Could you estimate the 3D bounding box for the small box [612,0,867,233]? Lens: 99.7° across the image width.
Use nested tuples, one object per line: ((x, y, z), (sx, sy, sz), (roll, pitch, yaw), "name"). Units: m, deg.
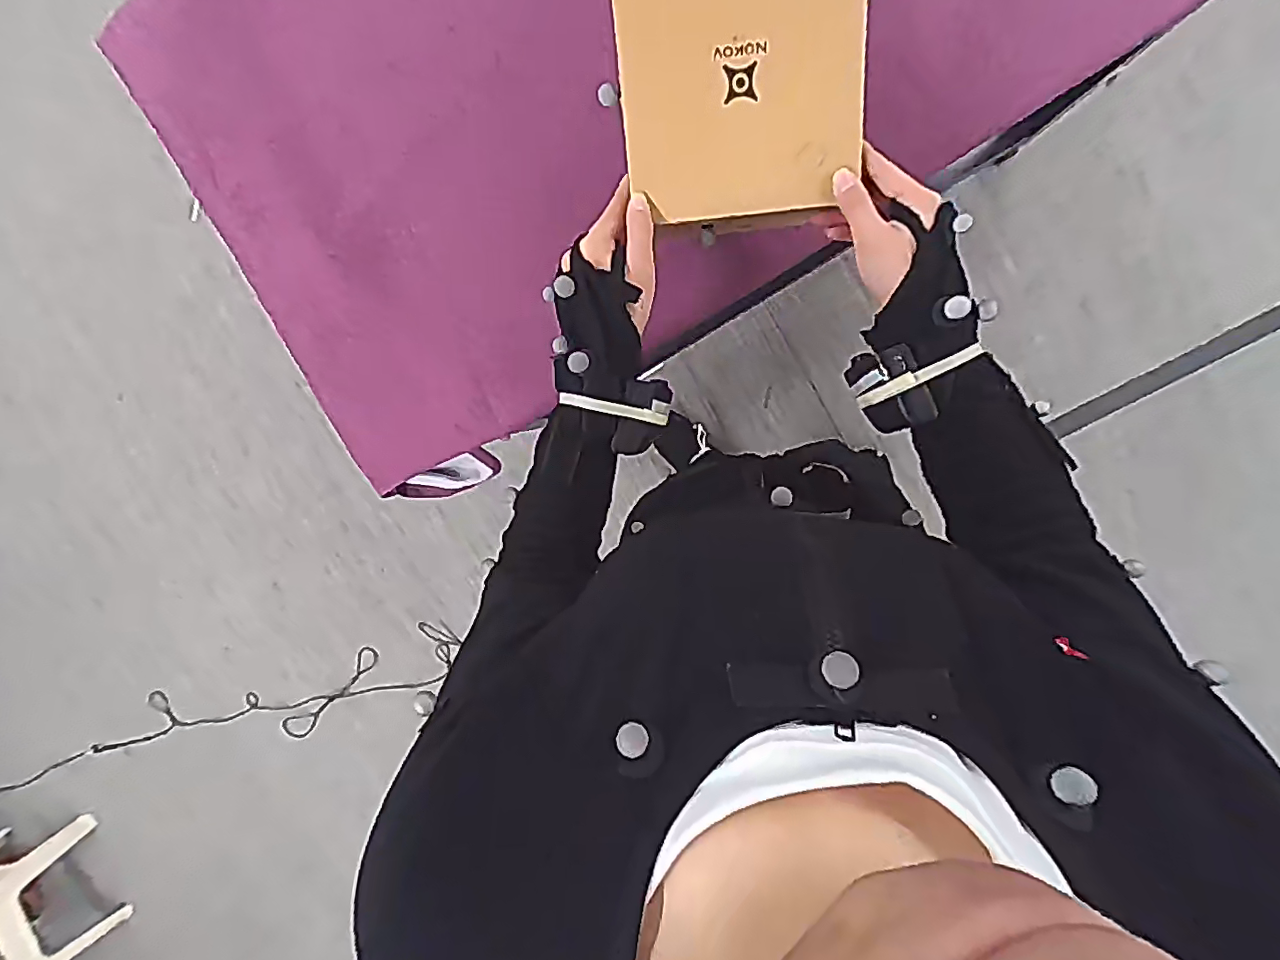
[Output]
((0.072, -0.303, 0.436), (0.168, 0.176, 0.179), (-4, 109, 4), "small box")
